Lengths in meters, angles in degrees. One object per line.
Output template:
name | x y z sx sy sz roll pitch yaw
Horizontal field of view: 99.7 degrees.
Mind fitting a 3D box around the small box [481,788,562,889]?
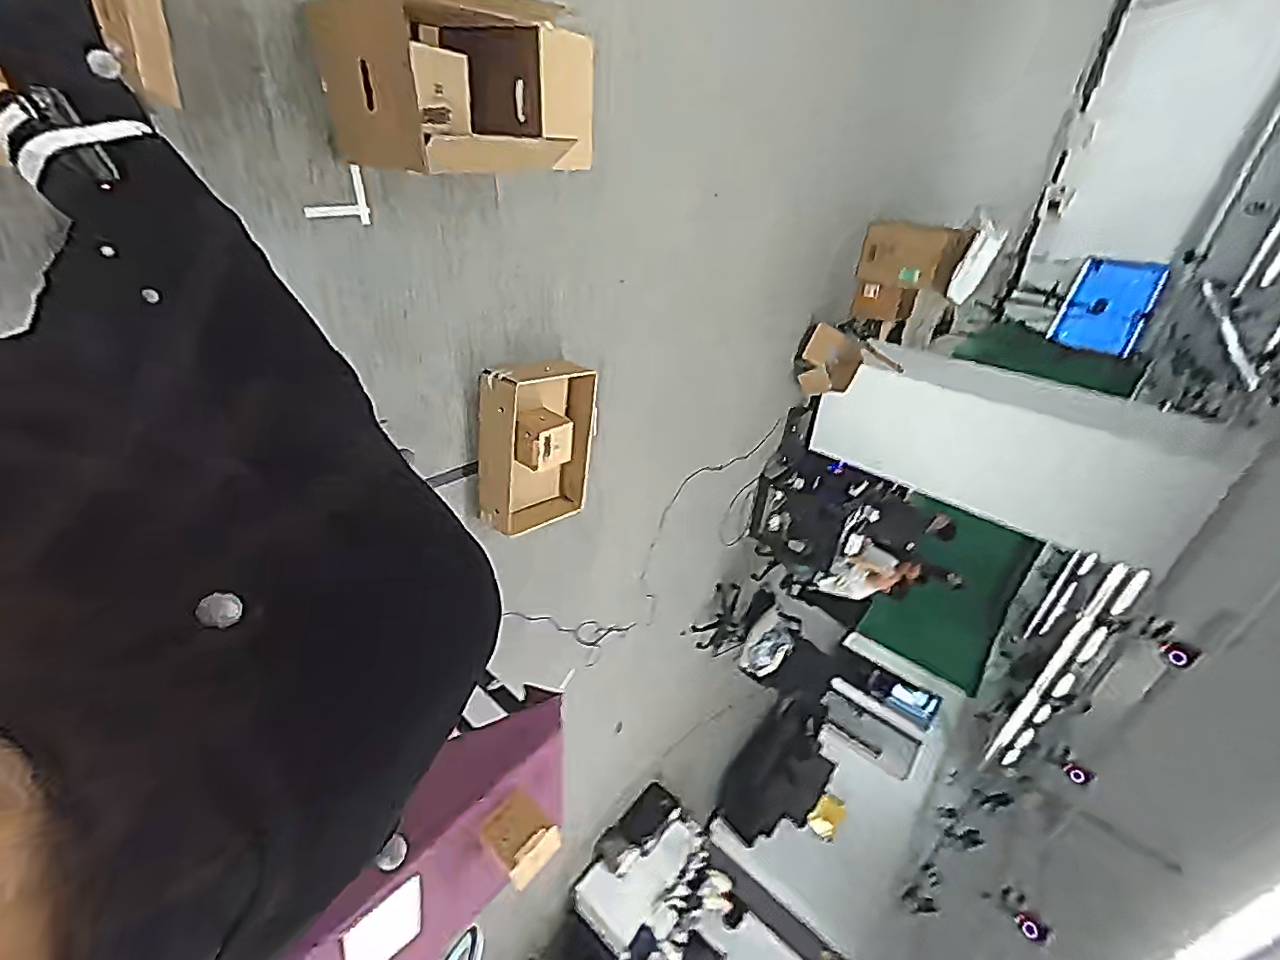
small box | -0.364 1.091 1.658 0.168 0.176 0.179 -35 139 -36
